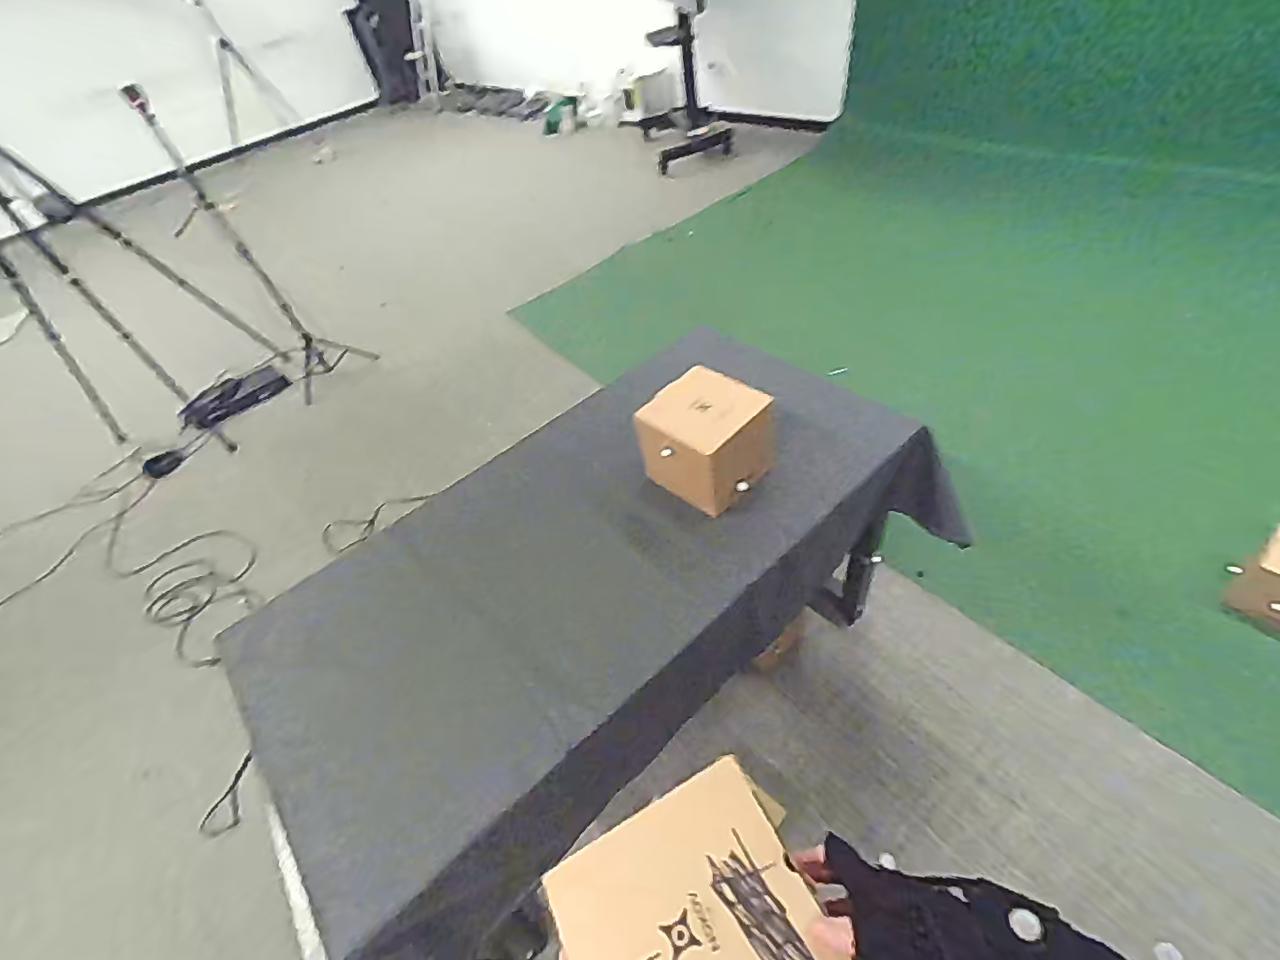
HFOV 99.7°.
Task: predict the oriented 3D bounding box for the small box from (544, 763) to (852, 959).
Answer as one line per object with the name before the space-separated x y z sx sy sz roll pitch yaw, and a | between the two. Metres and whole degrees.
small box | 0.051 0.365 0.430 0.179 0.176 0.168 -27 48 -9

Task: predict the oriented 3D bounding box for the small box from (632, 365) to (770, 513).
small box | 0.114 -0.071 0.968 0.168 0.176 0.179 -40 52 -21

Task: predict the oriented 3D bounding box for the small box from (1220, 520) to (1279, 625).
small box | 1.607 0.241 1.338 0.179 0.176 0.168 -39 51 -20
